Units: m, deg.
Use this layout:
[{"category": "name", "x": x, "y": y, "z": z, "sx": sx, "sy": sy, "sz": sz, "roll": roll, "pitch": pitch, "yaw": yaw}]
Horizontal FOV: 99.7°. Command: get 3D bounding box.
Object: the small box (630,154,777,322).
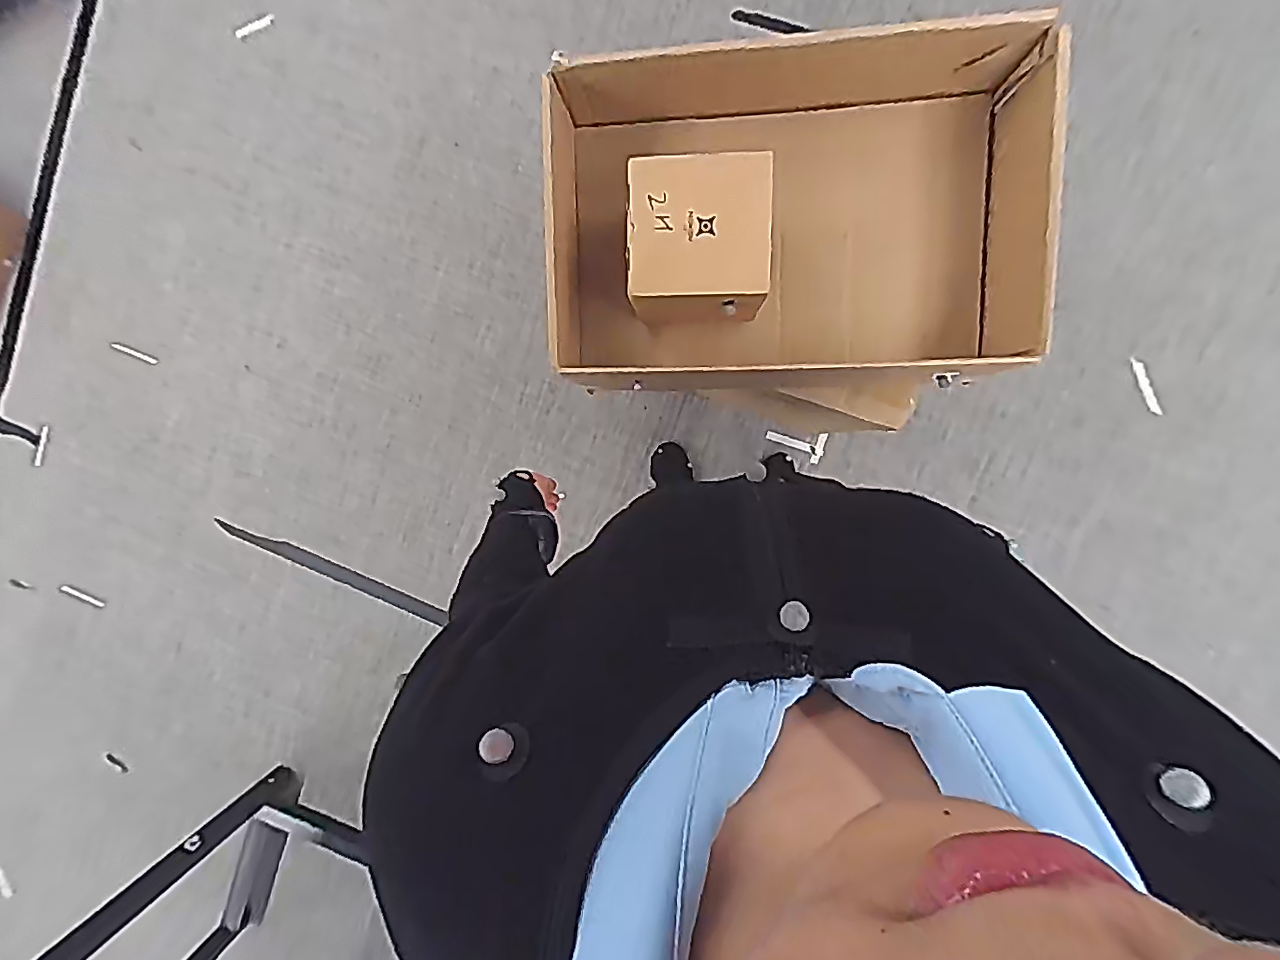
[{"category": "small box", "x": 0.083, "y": -0.316, "z": 0.735, "sx": 0.179, "sy": 0.176, "sz": 0.168, "roll": 1, "pitch": 95, "yaw": 6}]
